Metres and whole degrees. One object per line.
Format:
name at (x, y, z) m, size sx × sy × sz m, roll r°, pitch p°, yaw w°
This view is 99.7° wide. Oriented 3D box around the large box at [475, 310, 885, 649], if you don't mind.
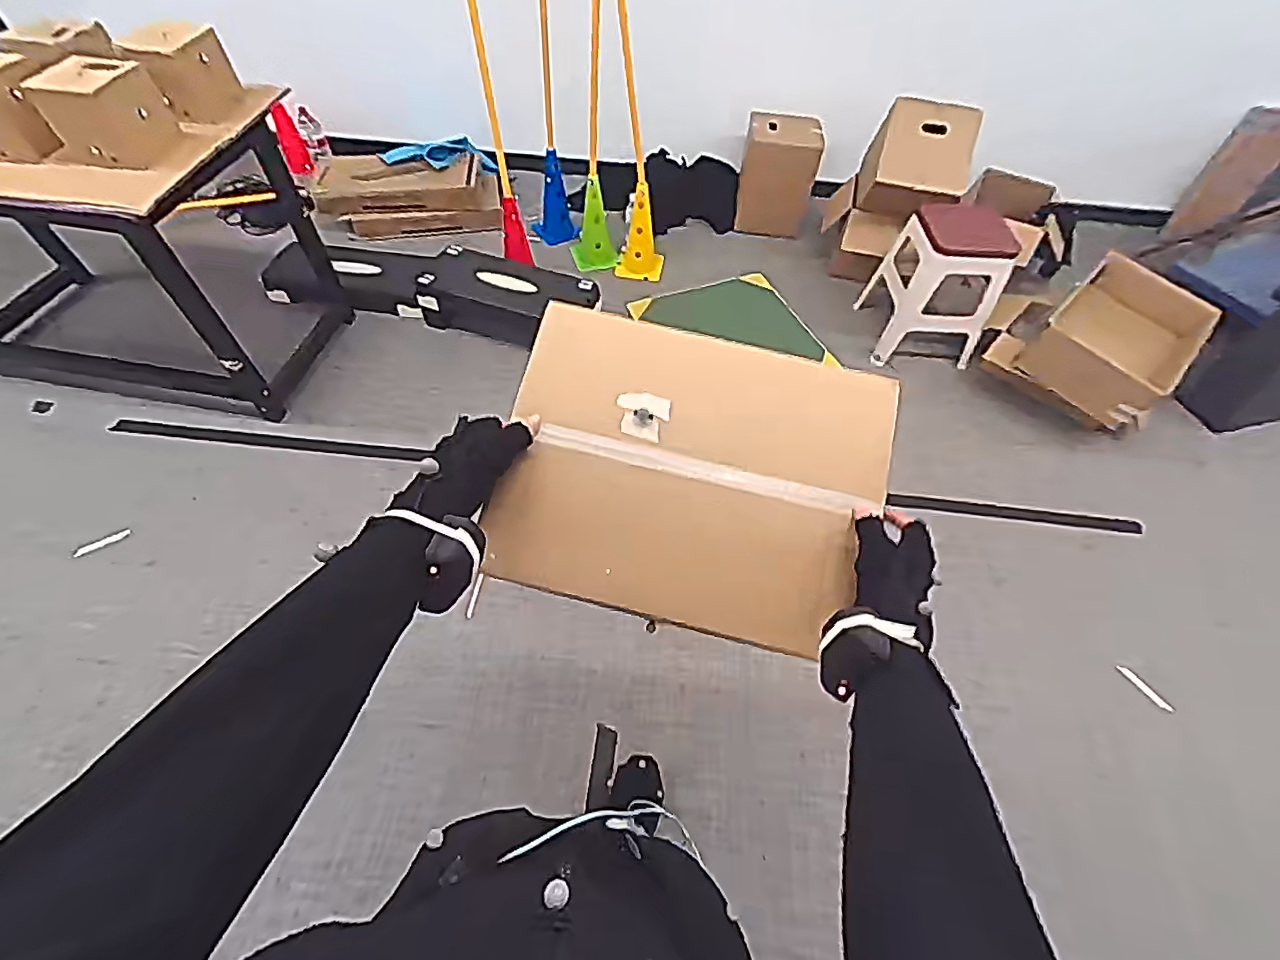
large box at (0.054, 0.021, 0.731) m, size 0.408 × 0.320 × 0.320 m, roll 13°, pitch 75°, yaw 3°
